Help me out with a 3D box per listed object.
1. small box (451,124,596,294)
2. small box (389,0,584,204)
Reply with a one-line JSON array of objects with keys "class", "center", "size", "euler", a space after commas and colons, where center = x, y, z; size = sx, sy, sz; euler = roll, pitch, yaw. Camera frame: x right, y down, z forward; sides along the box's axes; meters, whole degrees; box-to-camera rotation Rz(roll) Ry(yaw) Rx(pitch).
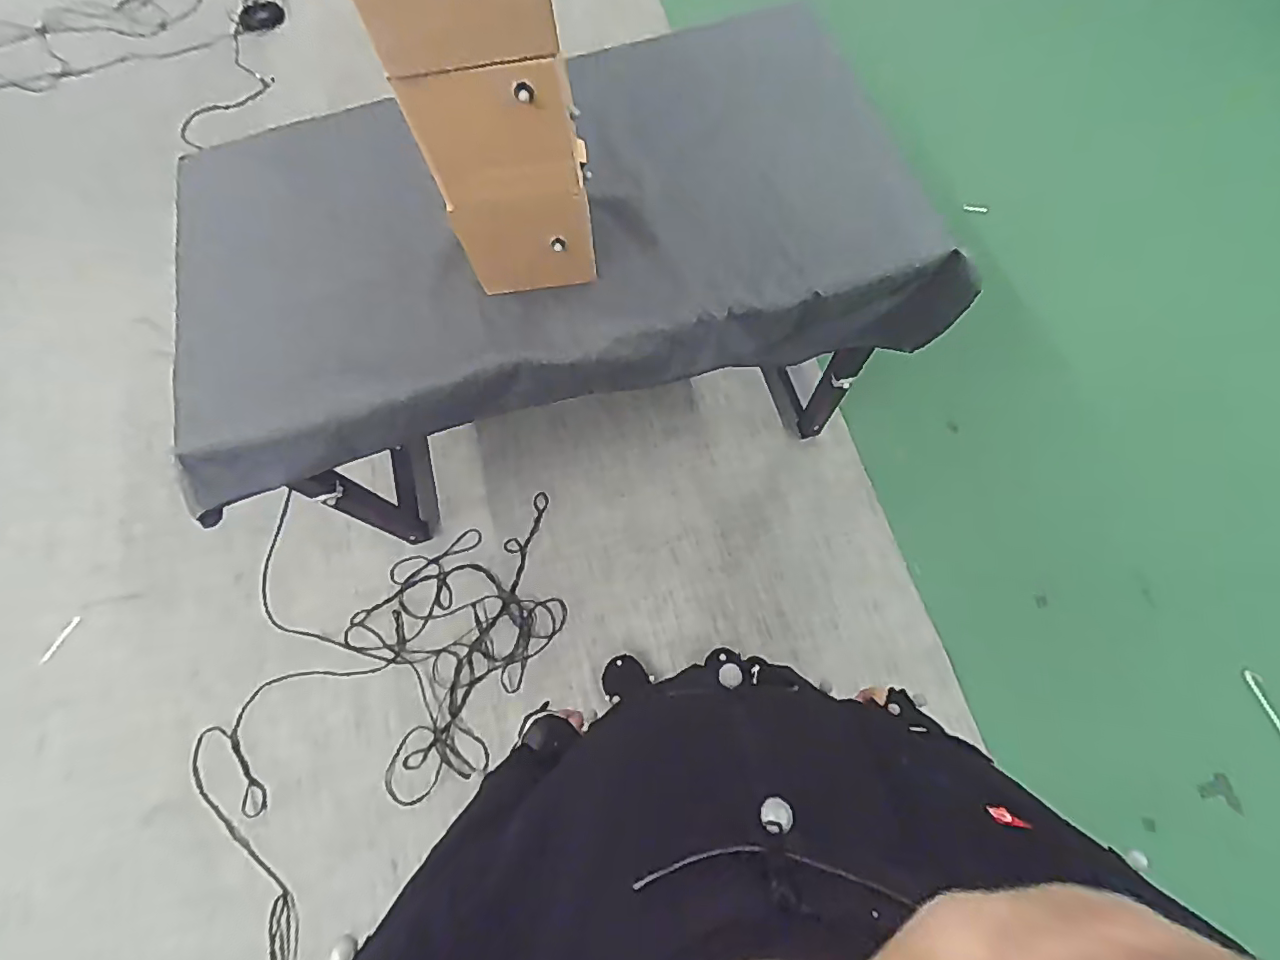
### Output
[{"class": "small box", "center": [-0.161, -0.400, 0.796], "size": [0.179, 0.176, 0.168], "euler": [-8, 69, 1]}, {"class": "small box", "center": [-0.171, -0.458, 0.645], "size": [0.179, 0.176, 0.168], "euler": [-7, 70, 0]}]
